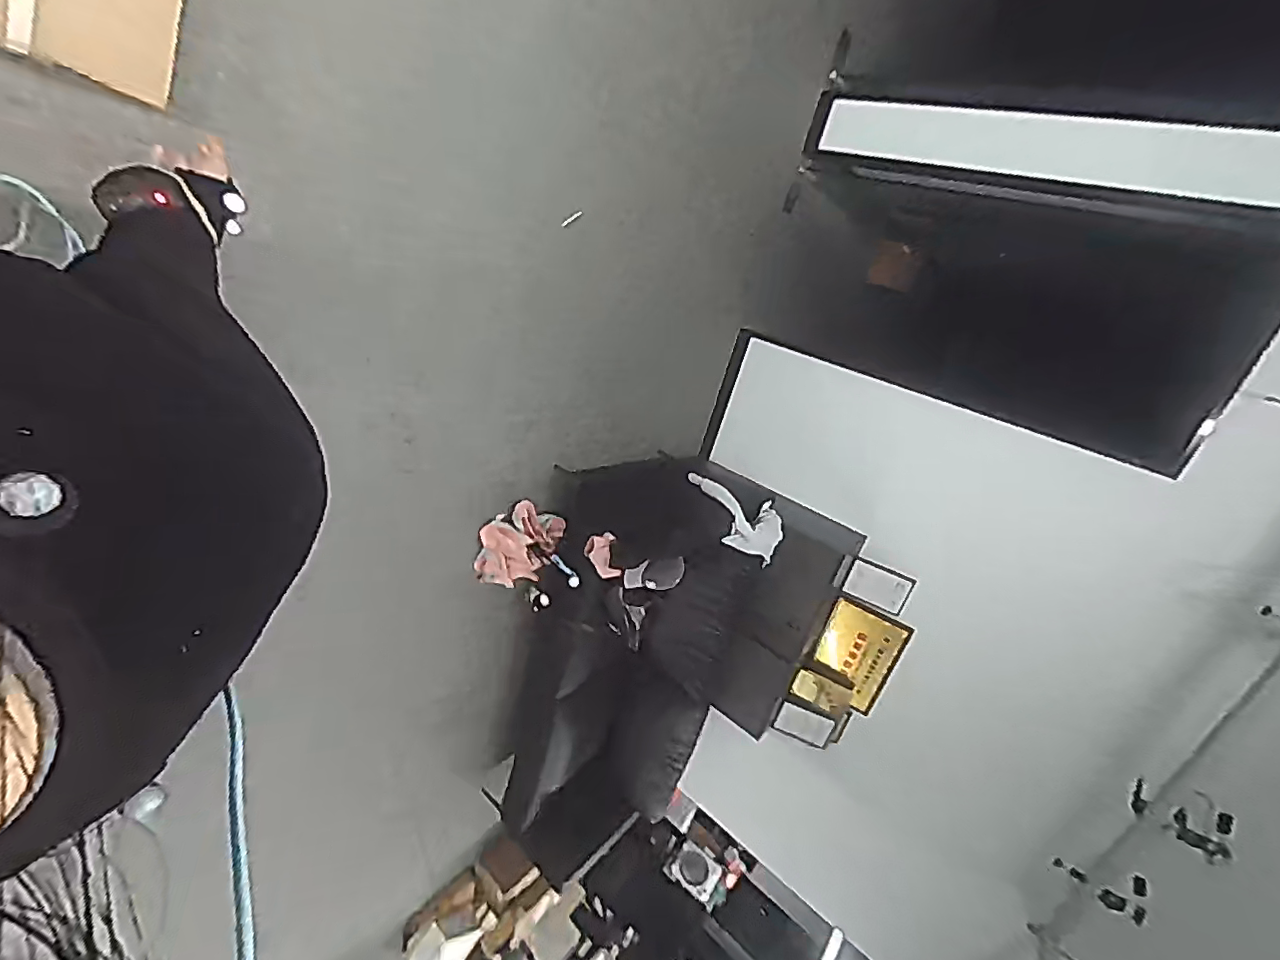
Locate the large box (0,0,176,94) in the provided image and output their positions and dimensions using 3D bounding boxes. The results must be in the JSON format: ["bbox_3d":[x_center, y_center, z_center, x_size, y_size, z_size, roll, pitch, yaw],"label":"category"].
[{"bbox_3d":[-0.862,-0.825,0.732,0.320,0.320,0.408,0,115,-57],"label":"large box"}]
